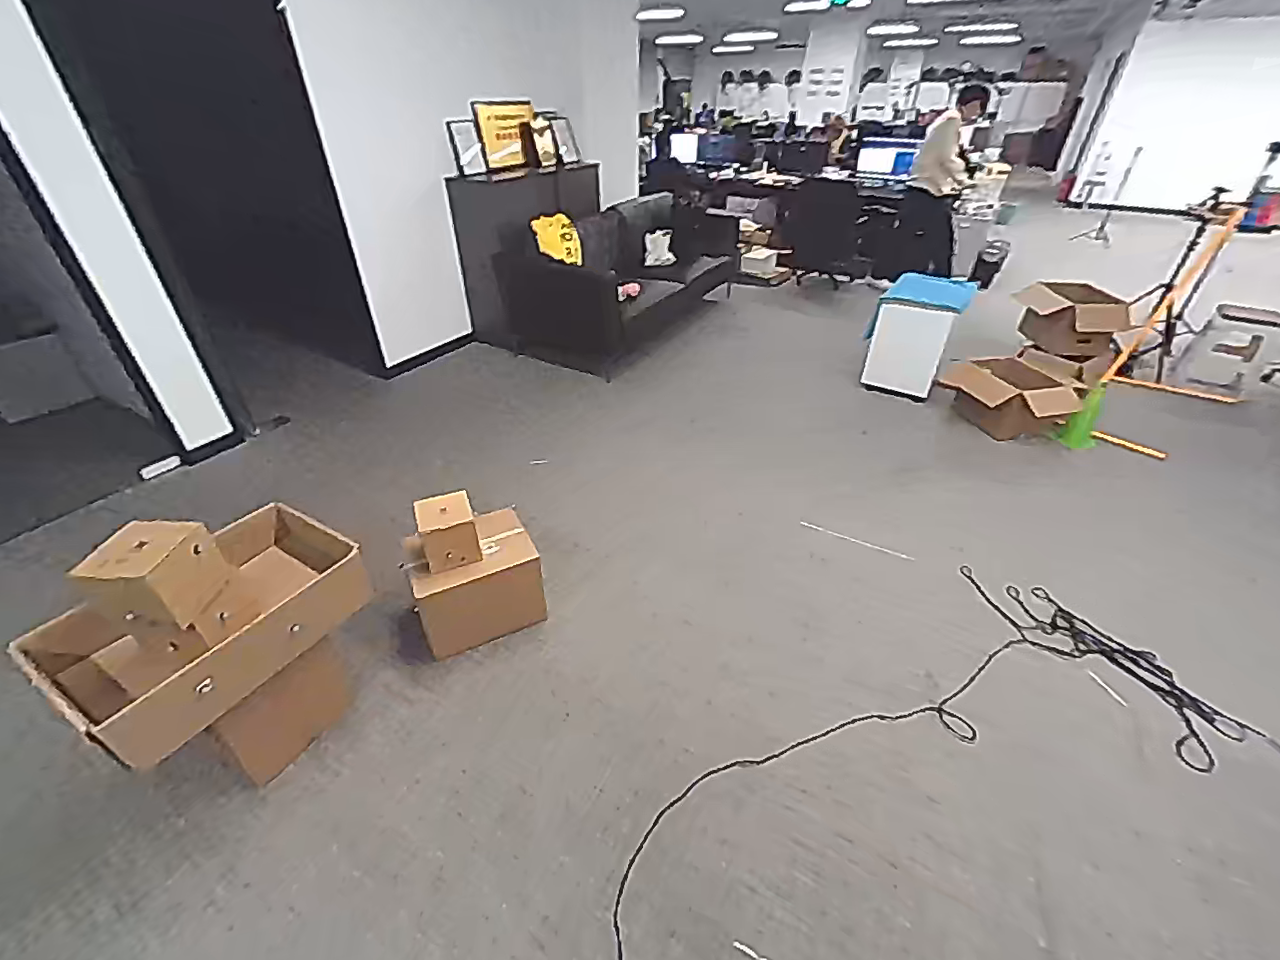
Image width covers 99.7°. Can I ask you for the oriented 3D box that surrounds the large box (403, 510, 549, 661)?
[{"bbox_3d":[-0.570,0.362,1.903,0.408,0.320,0.320,-16,39,-24],"label":"large box"}]

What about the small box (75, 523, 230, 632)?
[{"bbox_3d":[-1.073,0.217,1.215,0.168,0.176,0.179,1,36,2],"label":"small box"}]

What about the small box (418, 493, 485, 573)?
[{"bbox_3d":[-0.611,0.169,1.753,0.168,0.176,0.179,-14,37,-20],"label":"small box"}]
